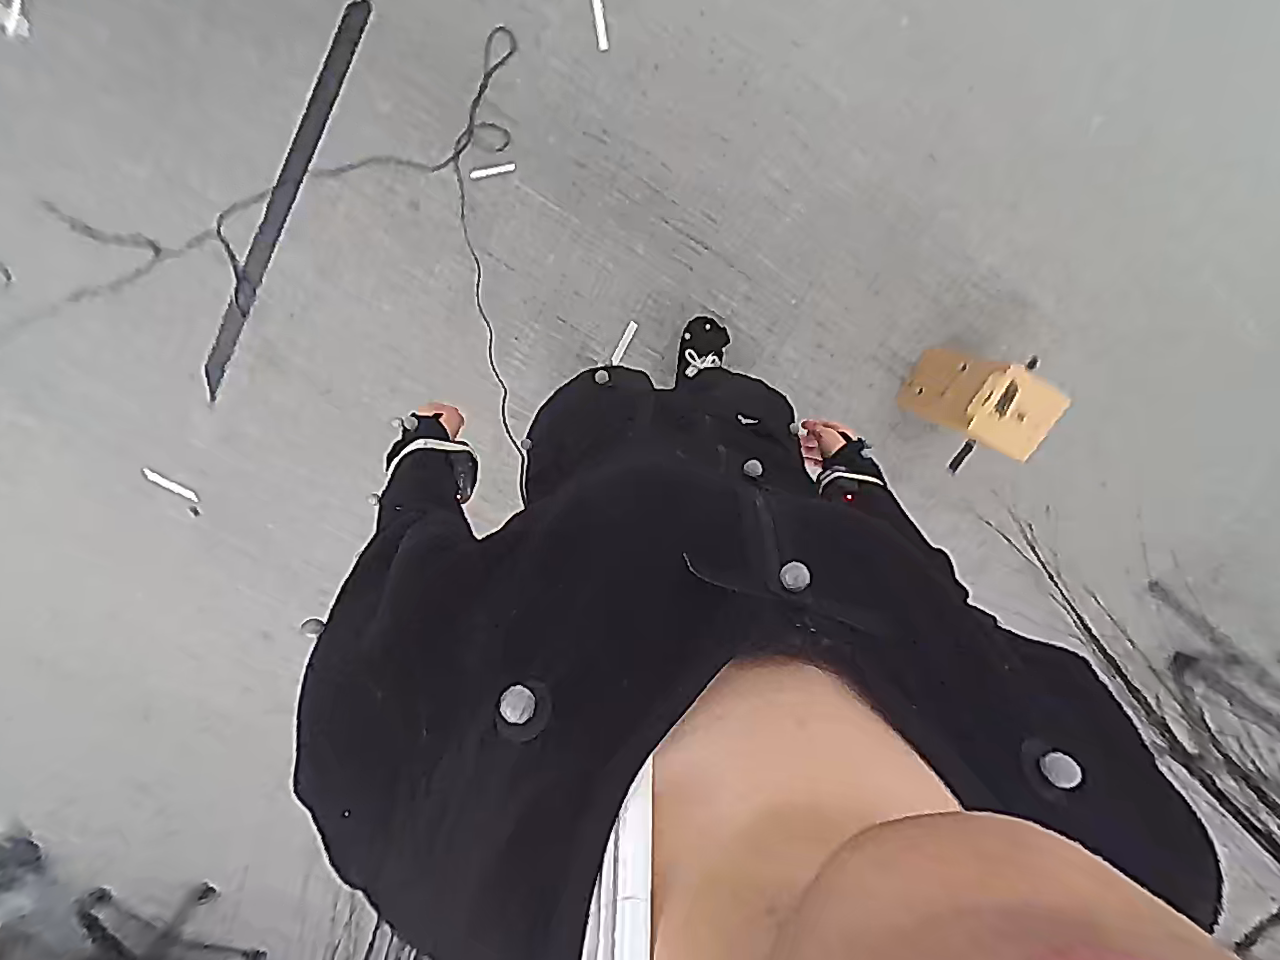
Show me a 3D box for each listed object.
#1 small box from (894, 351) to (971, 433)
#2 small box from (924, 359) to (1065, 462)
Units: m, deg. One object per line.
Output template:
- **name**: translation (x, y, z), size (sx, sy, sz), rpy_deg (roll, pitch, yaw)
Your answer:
- **small box**: translation (0.807, -0.225, 1.412), size (0.179, 0.176, 0.168), rpy_deg (25, 107, -11)
- **small box**: translation (0.810, -0.168, 1.257), size (0.179, 0.176, 0.168), rpy_deg (26, 106, -11)
